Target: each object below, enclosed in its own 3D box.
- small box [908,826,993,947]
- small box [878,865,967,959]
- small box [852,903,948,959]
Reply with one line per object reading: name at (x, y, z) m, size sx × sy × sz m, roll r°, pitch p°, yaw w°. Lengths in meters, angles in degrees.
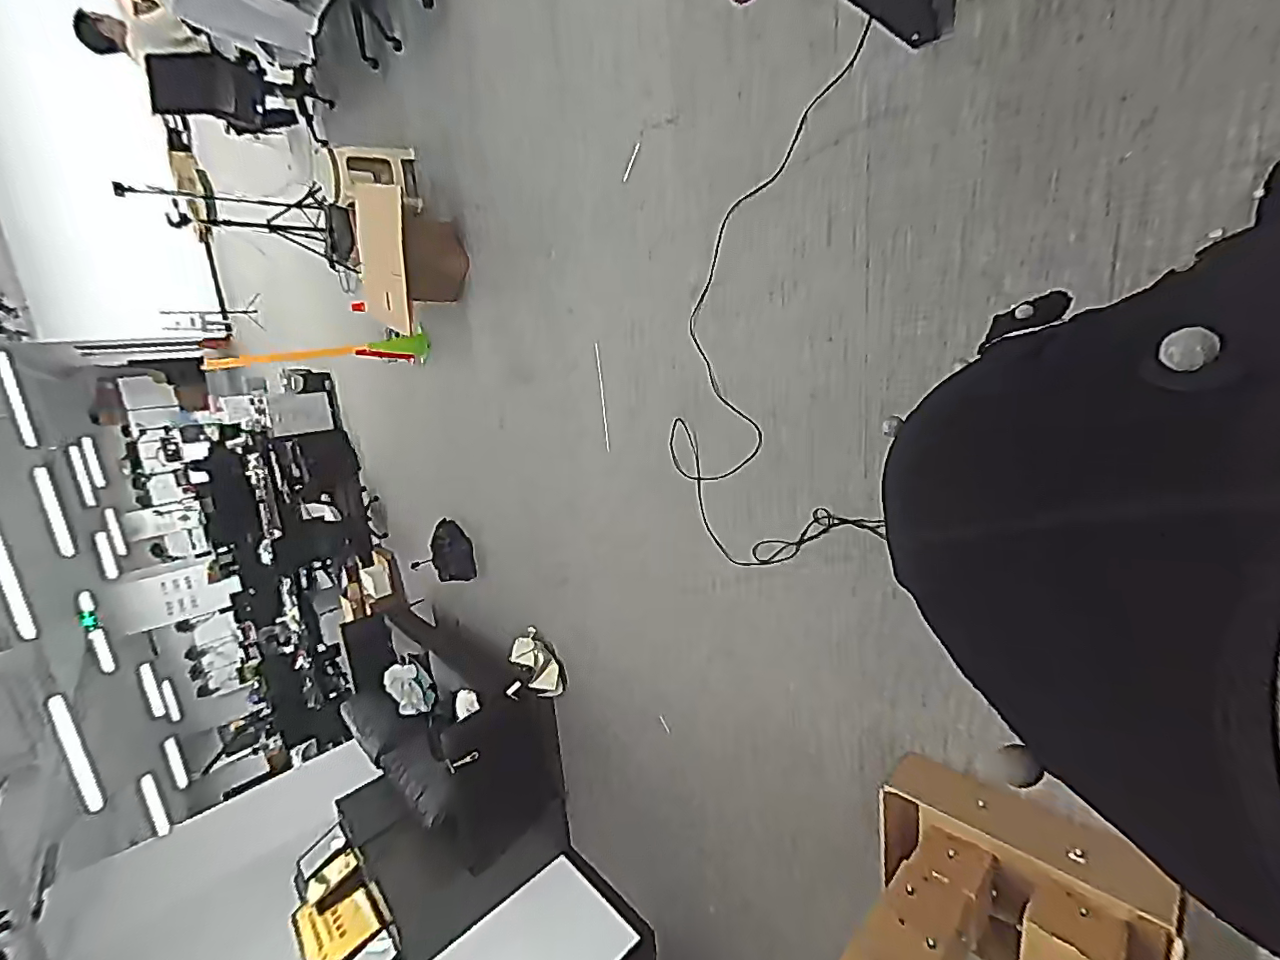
small box at (0.867, 1.118, 1.507) m, size 0.168 × 0.176 × 0.179 m, roll 1°, pitch 103°, yaw 46°
small box at (0.728, 1.157, 1.396) m, size 0.168 × 0.176 × 0.179 m, roll 7°, pitch 107°, yaw 46°
small box at (0.623, 1.182, 1.296) m, size 0.168 × 0.176 × 0.179 m, roll 8°, pitch 108°, yaw 46°
